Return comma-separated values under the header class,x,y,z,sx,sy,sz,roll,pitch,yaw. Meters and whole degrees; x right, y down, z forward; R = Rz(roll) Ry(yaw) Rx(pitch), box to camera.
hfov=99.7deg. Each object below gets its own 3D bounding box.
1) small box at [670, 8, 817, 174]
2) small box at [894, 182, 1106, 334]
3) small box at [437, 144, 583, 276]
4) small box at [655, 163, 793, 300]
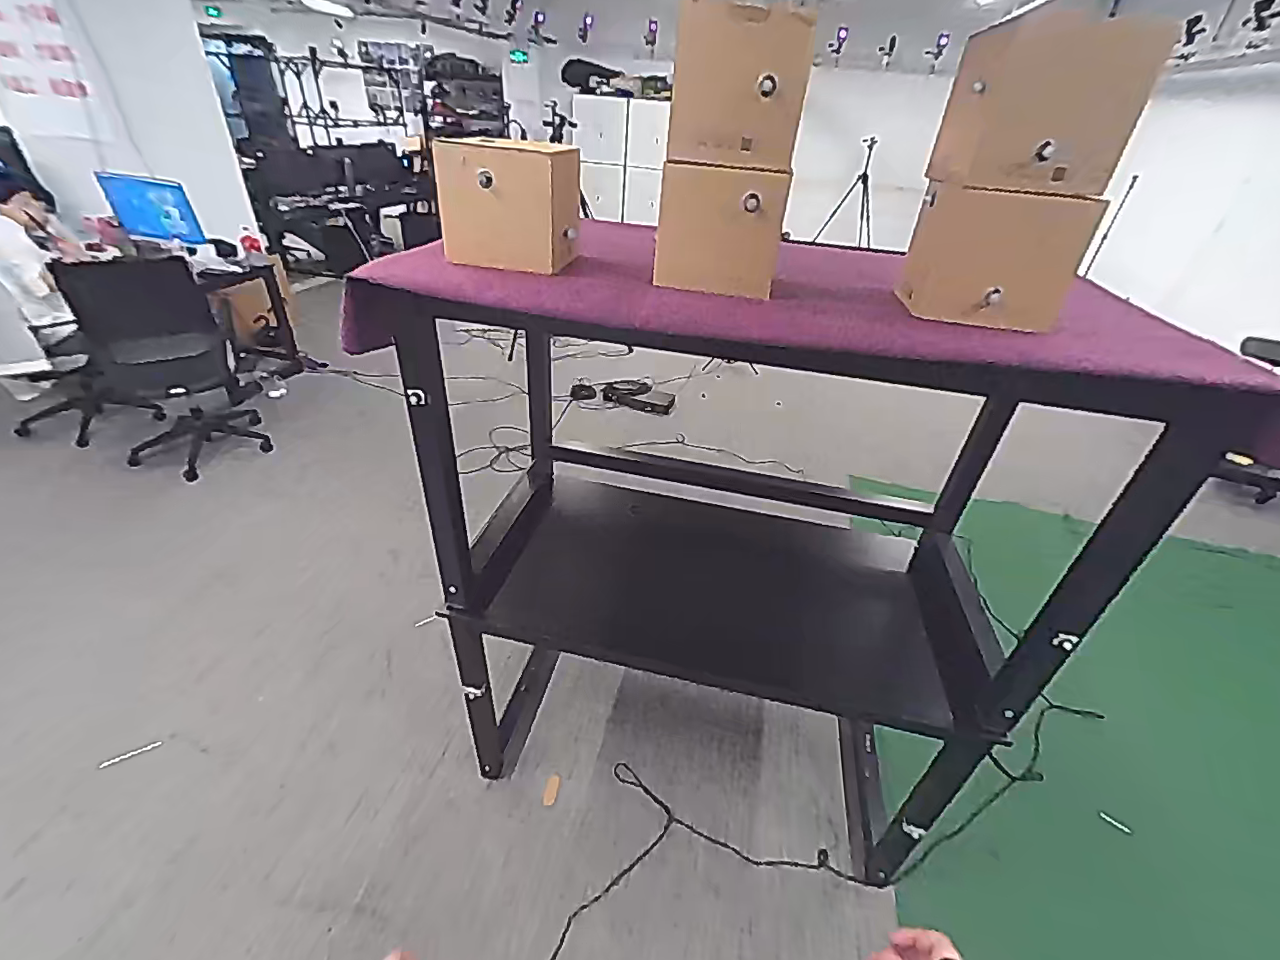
class,x,y,z,sx,sy,sz,roll,pitch,yaw
small box,0.139,-0.523,0.746,0.168,0.176,0.179,11,33,8
small box,0.491,-0.317,0.772,0.179,0.176,0.168,10,32,8
small box,-0.198,-0.434,0.867,0.179,0.176,0.168,9,34,5
small box,0.128,-0.383,0.828,0.179,0.176,0.168,10,33,9
